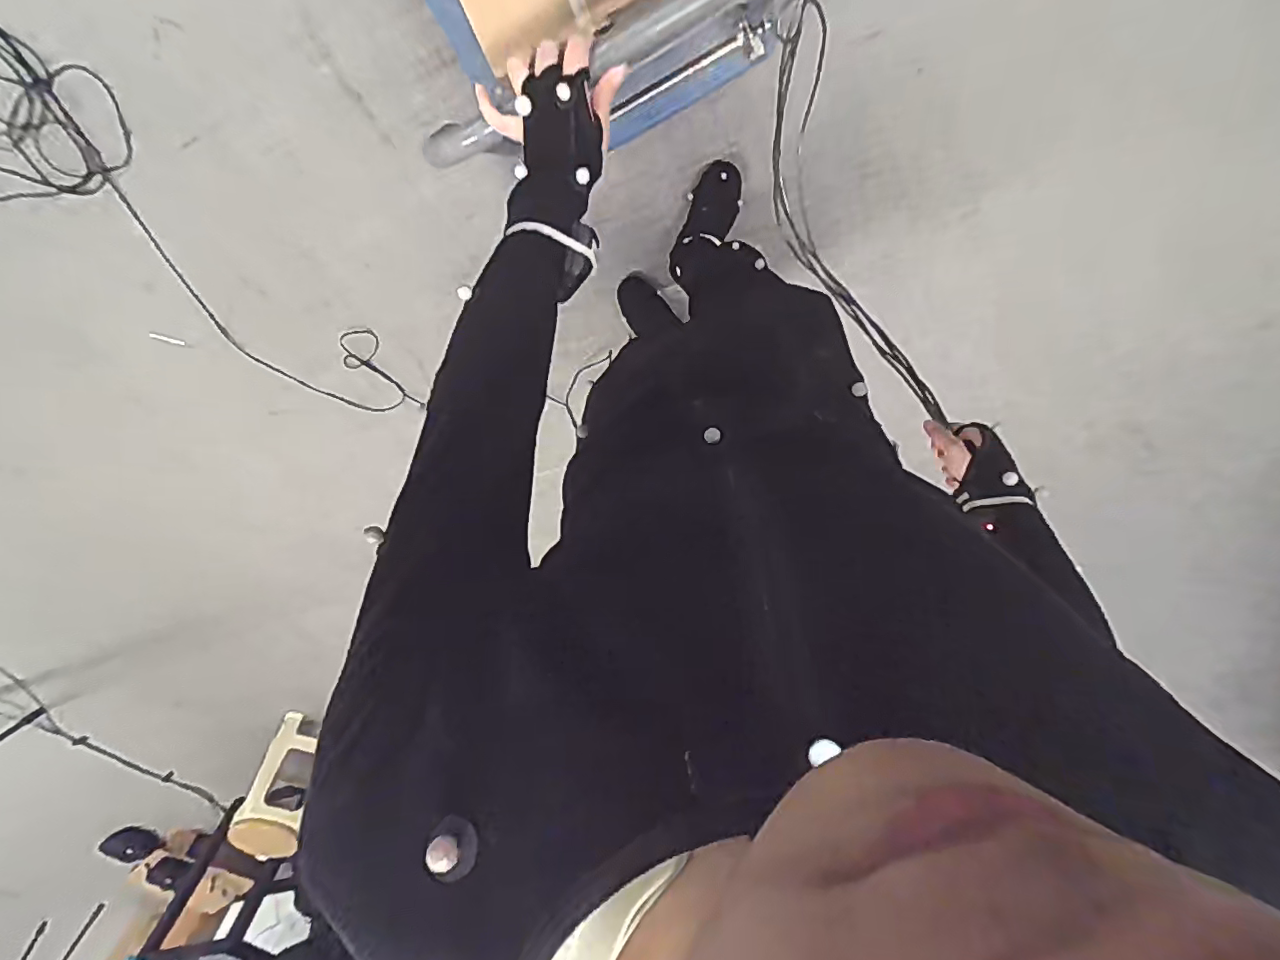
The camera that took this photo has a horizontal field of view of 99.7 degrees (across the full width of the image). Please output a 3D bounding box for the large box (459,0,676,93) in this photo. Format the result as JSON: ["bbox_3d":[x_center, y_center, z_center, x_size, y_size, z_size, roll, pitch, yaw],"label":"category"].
[{"bbox_3d":[-0.155,-0.903,0.836,0.320,0.320,0.408,-20,119,13],"label":"large box"}]
